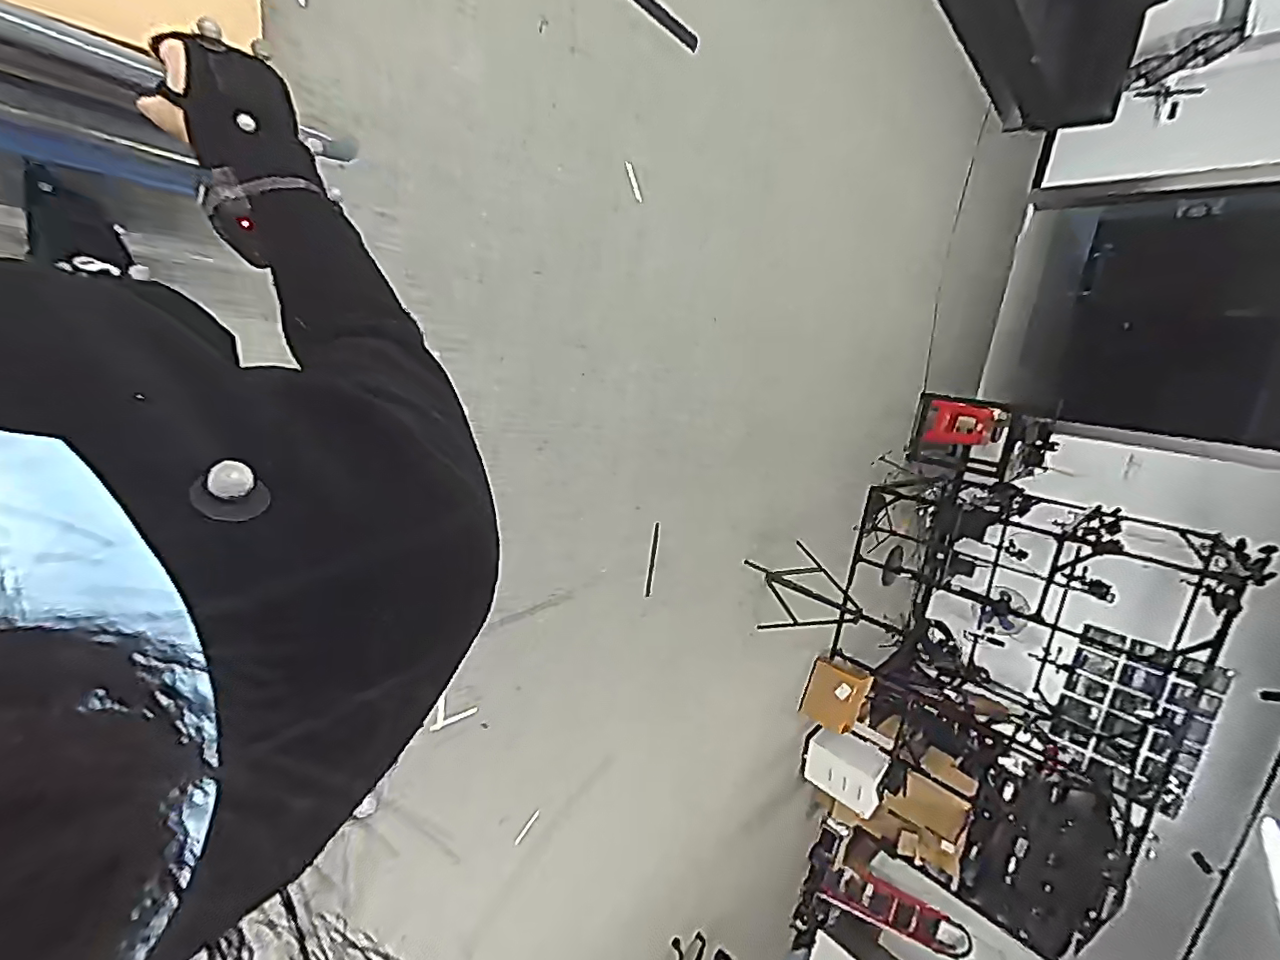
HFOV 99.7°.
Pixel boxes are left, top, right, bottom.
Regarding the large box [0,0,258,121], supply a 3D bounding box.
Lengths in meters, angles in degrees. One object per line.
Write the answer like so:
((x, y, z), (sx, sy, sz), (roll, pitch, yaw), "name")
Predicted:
((-0.783, -0.728, 0.696), (0.408, 0.320, 0.320), (-10, 111, -47), "large box")
